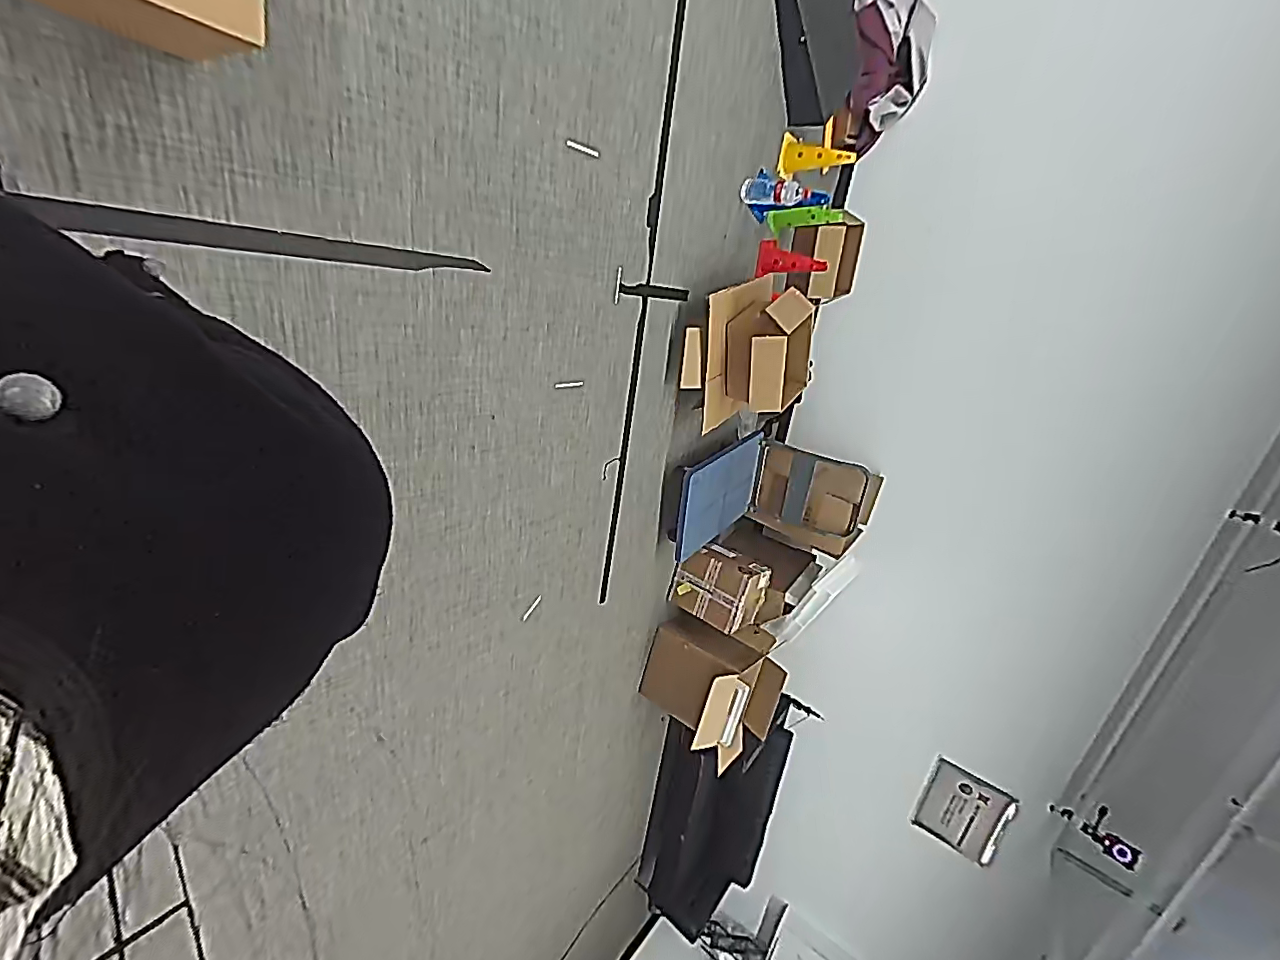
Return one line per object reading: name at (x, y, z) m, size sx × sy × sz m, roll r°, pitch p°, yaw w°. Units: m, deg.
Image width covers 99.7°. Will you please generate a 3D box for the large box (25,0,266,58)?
large box at (-0.815, -0.853, 0.741) m, size 0.408 × 0.320 × 0.320 m, roll -17°, pitch 123°, yaw -53°
